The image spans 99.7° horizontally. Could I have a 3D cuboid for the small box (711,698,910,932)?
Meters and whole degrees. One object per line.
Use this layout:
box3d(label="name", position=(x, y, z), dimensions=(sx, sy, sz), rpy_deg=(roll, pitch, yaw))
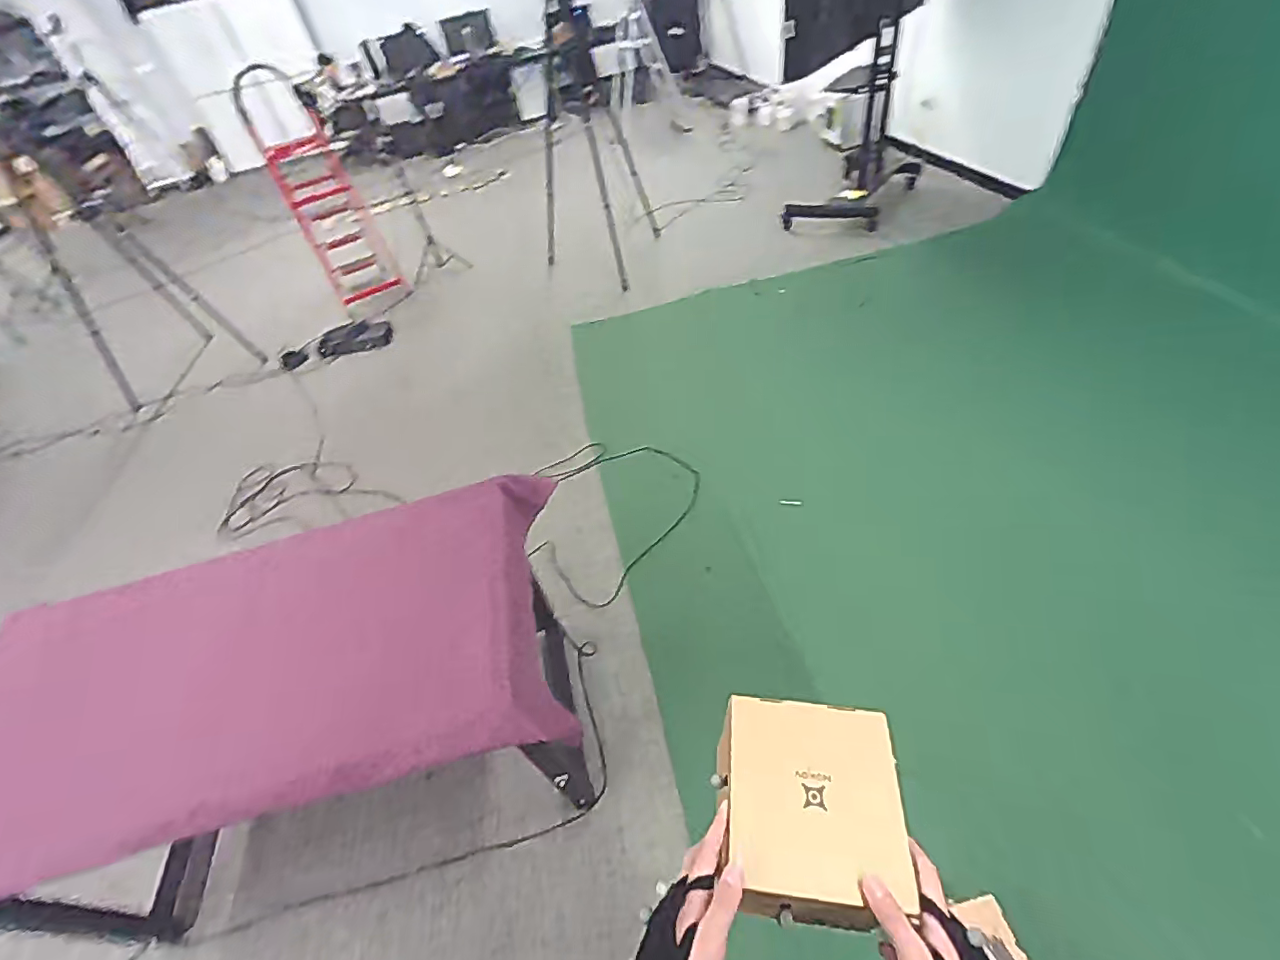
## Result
box3d(label="small box", position=(0.165, 0.362, 0.584), dimensions=(0.168, 0.176, 0.179), rpy_deg=(3, 46, 6))

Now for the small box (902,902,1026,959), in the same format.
box3d(label="small box", position=(0.661, 0.980, 1.088), dimensions=(0.179, 0.176, 0.168), rpy_deg=(-16, 44, -1))
